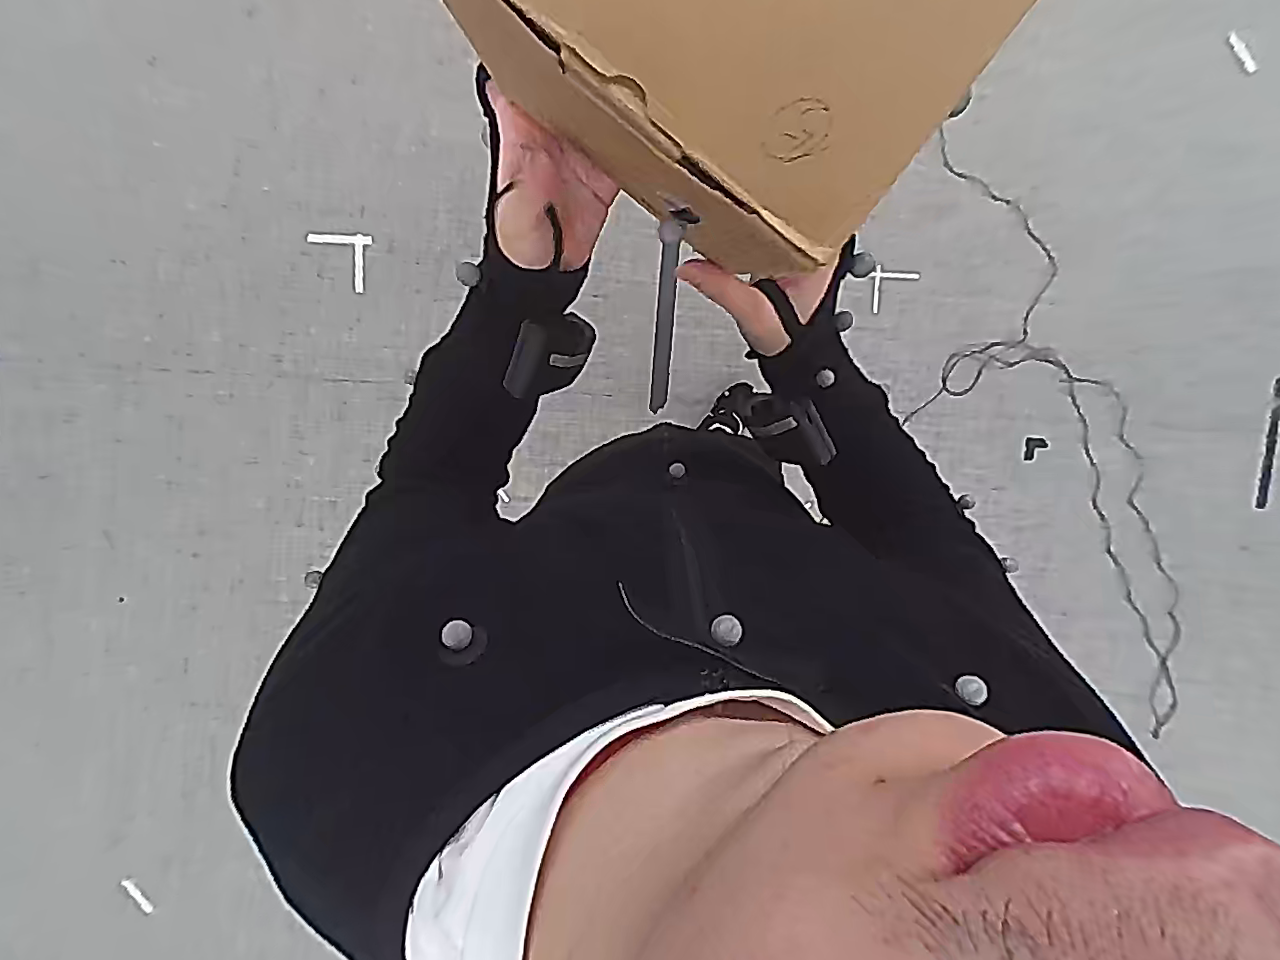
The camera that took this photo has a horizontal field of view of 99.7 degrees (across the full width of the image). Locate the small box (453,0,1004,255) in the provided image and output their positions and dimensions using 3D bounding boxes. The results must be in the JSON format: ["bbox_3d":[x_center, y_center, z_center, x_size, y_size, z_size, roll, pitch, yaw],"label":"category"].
[{"bbox_3d":[0.040,-0.215,0.224,0.168,0.176,0.179,32,106,-14],"label":"small box"}]
